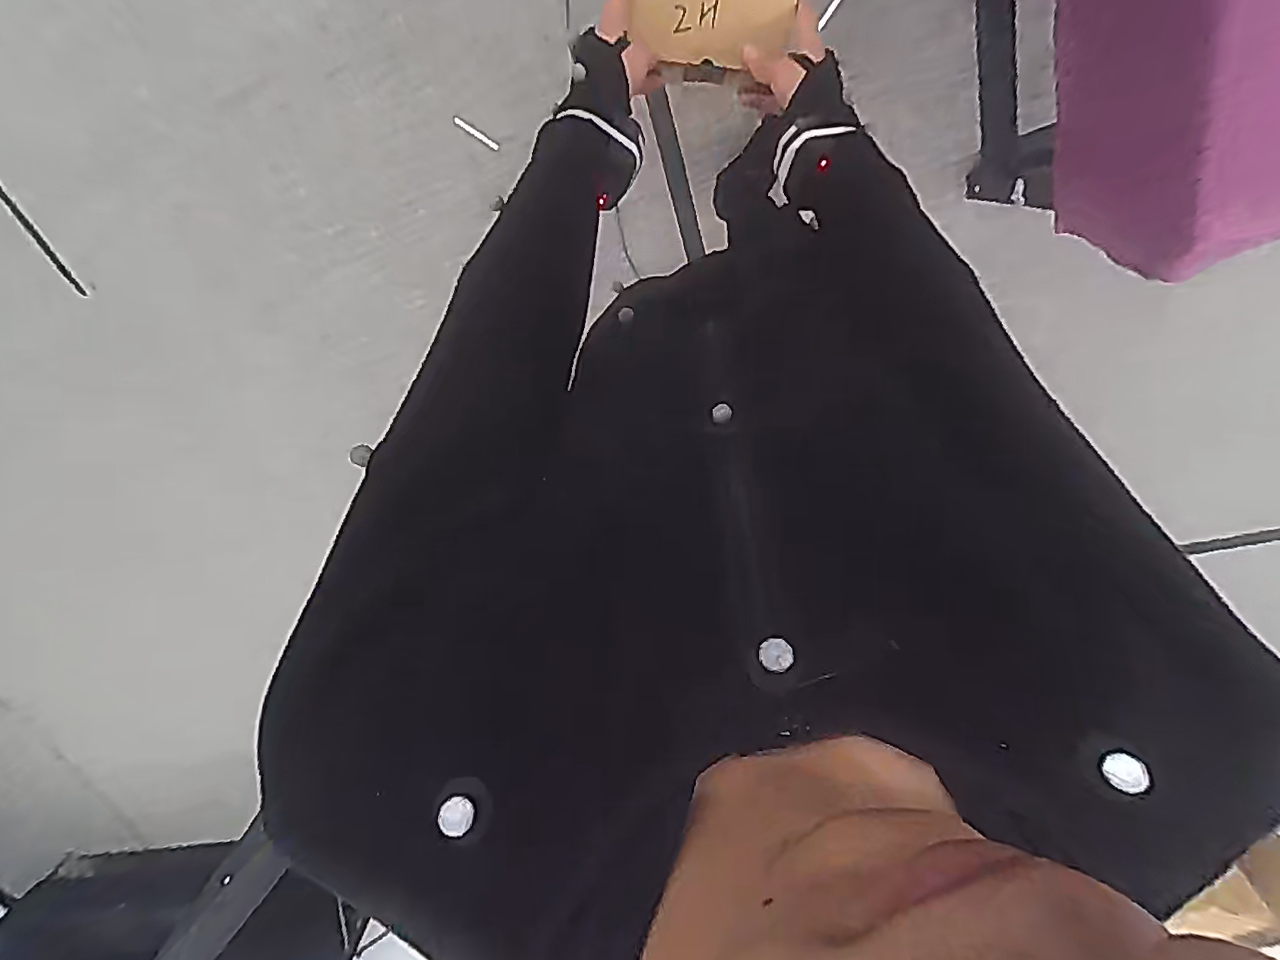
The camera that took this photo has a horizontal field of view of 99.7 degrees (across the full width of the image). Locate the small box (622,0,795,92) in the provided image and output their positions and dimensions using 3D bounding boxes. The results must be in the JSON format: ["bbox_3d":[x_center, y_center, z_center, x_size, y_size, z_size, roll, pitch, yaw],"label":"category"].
[{"bbox_3d":[0.069,-0.542,0.582,0.168,0.176,0.179,3,121,-5],"label":"small box"}]
